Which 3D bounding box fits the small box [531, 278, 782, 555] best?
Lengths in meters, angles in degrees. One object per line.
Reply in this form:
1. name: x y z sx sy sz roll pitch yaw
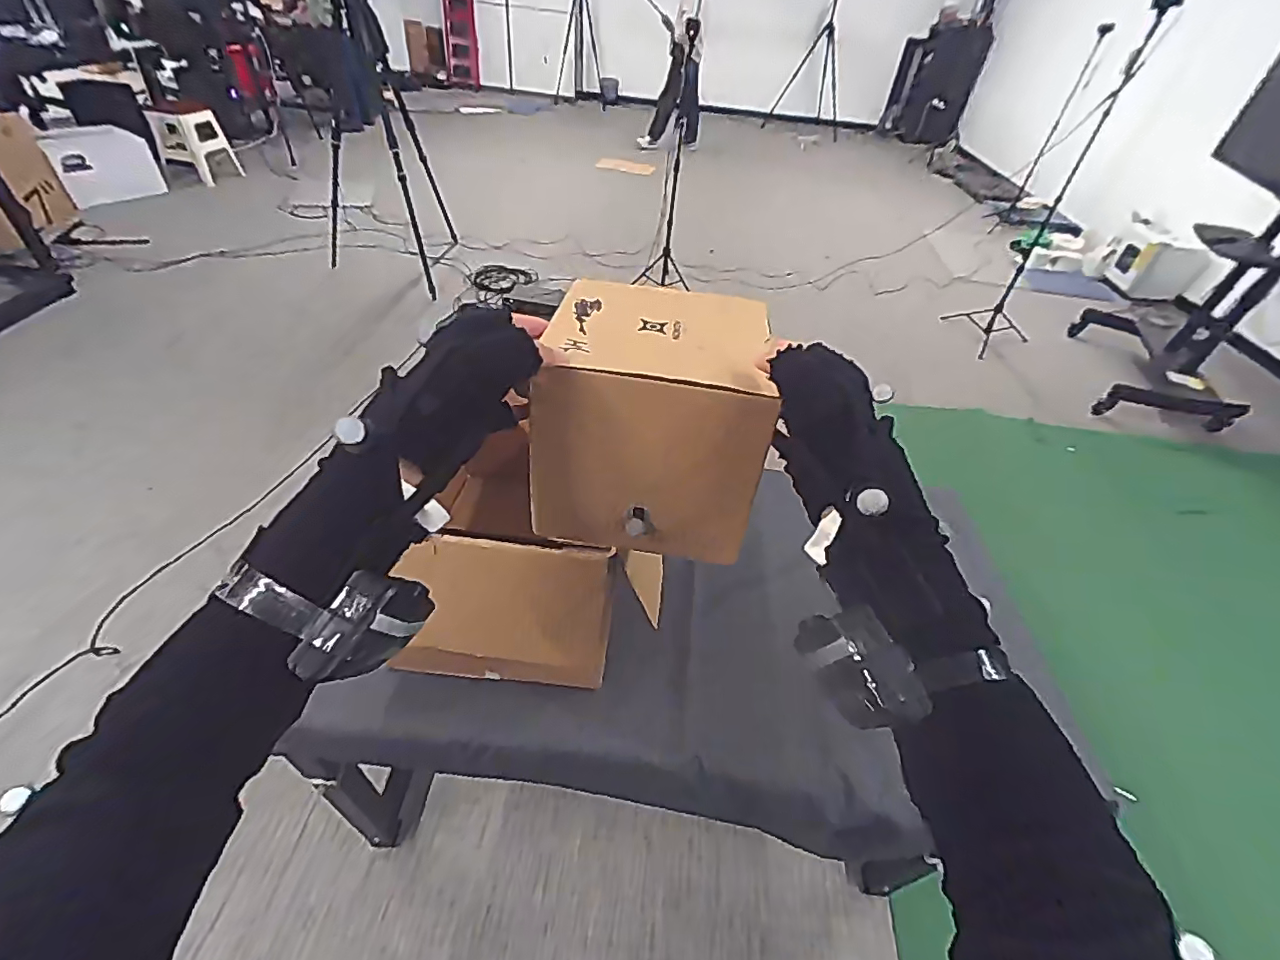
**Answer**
1. small box: 0.012 -0.055 0.477 0.179 0.176 0.168 9 40 1
